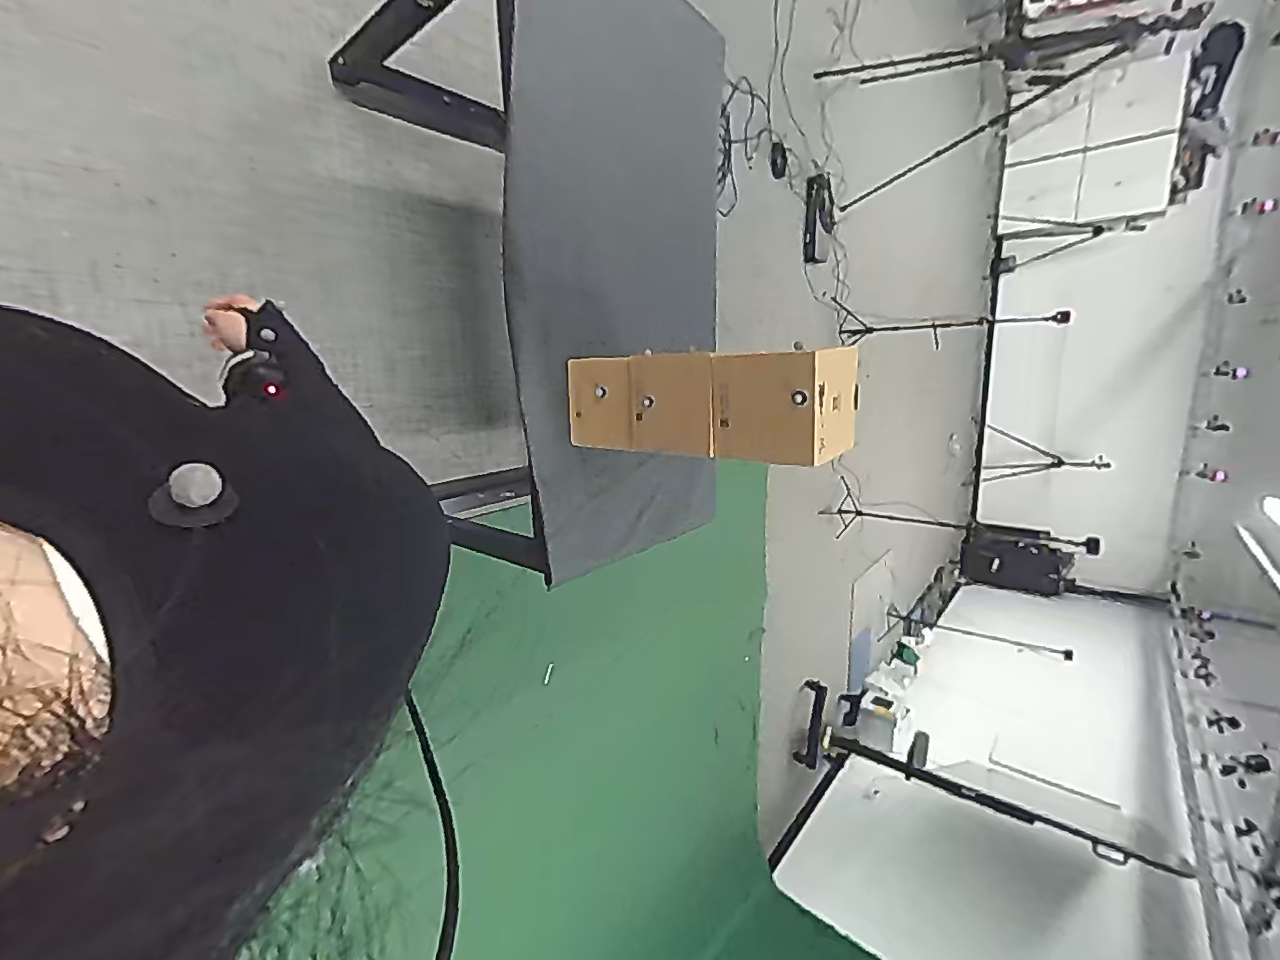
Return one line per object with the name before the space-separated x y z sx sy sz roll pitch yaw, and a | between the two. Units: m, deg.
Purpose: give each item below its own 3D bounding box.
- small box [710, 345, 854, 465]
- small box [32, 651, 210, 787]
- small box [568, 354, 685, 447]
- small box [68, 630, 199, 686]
small box | 0.225 -0.126 0.857 0.179 0.176 0.168 -20 111 -49
small box | -0.927 0.426 0.967 0.168 0.176 0.179 41 66 -44
small box | -0.030 -0.156 1.062 0.179 0.176 0.168 -15 107 -50
small box | -1.031 0.410 1.094 0.168 0.176 0.179 11 88 -50
